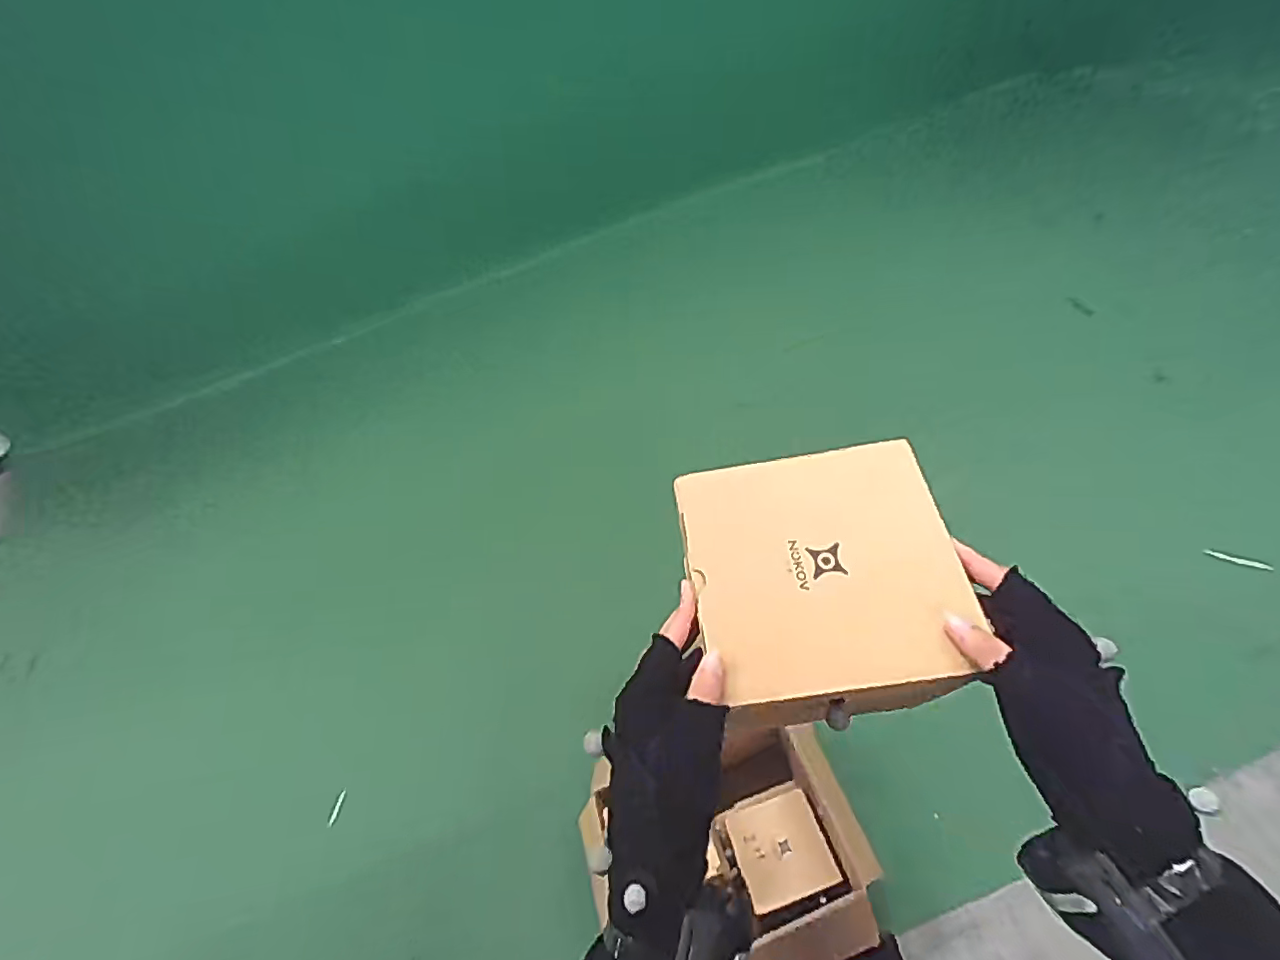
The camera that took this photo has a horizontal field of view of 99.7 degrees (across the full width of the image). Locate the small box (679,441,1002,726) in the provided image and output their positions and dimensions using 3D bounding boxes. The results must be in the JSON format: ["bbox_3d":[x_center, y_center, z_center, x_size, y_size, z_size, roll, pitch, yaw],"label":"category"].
[{"bbox_3d":[0.131,0.092,0.428,0.179,0.176,0.168,-9,60,5],"label":"small box"}]
